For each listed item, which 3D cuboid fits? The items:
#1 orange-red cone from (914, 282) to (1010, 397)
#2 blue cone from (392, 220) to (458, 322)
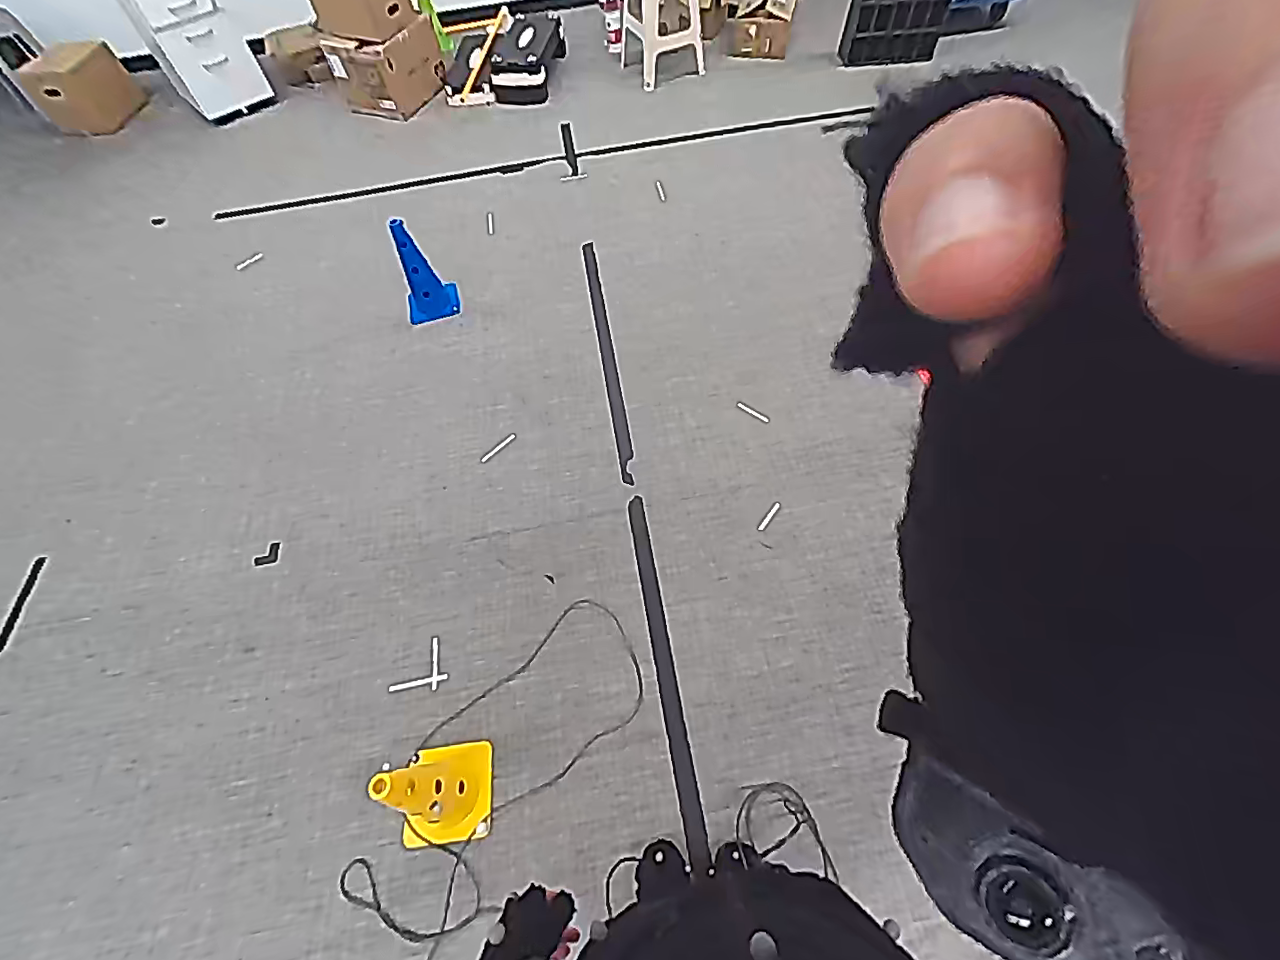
[{"bbox_3d":[1.042,-0.458,1.681,0.198,0.360,0.199,-14,57,-5],"label":"orange-red cone"},{"bbox_3d":[-0.850,-0.803,2.049,0.192,0.380,0.193,-15,58,-5],"label":"blue cone"}]
